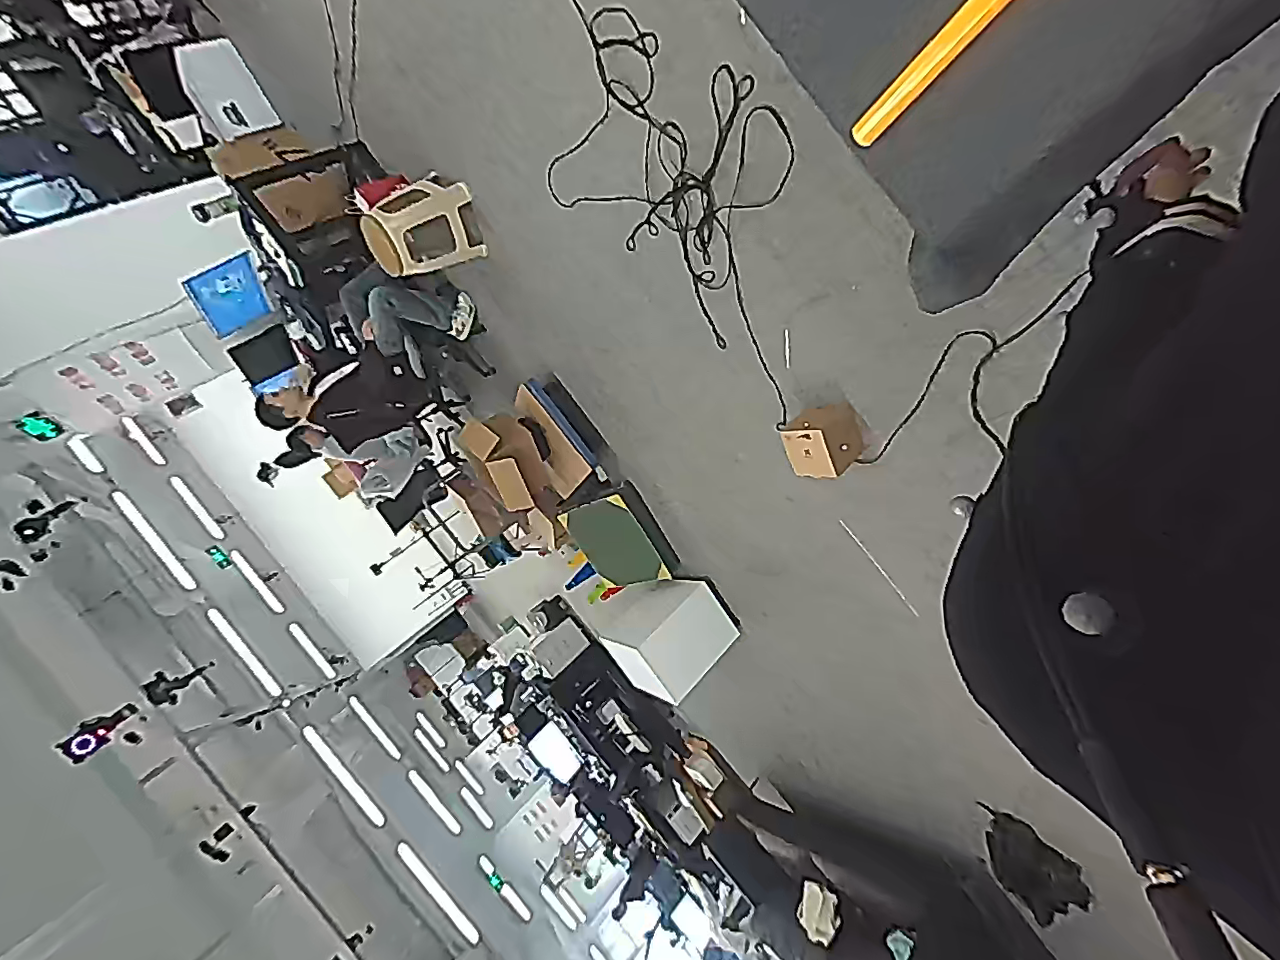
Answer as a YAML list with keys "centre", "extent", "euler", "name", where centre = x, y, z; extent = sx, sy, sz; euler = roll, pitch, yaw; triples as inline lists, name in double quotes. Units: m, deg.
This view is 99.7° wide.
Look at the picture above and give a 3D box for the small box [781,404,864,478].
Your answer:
- centre: [0.594, -0.127, 1.746]
  extent: [0.168, 0.176, 0.179]
  euler: [6, 128, 56]
  name: "small box"
